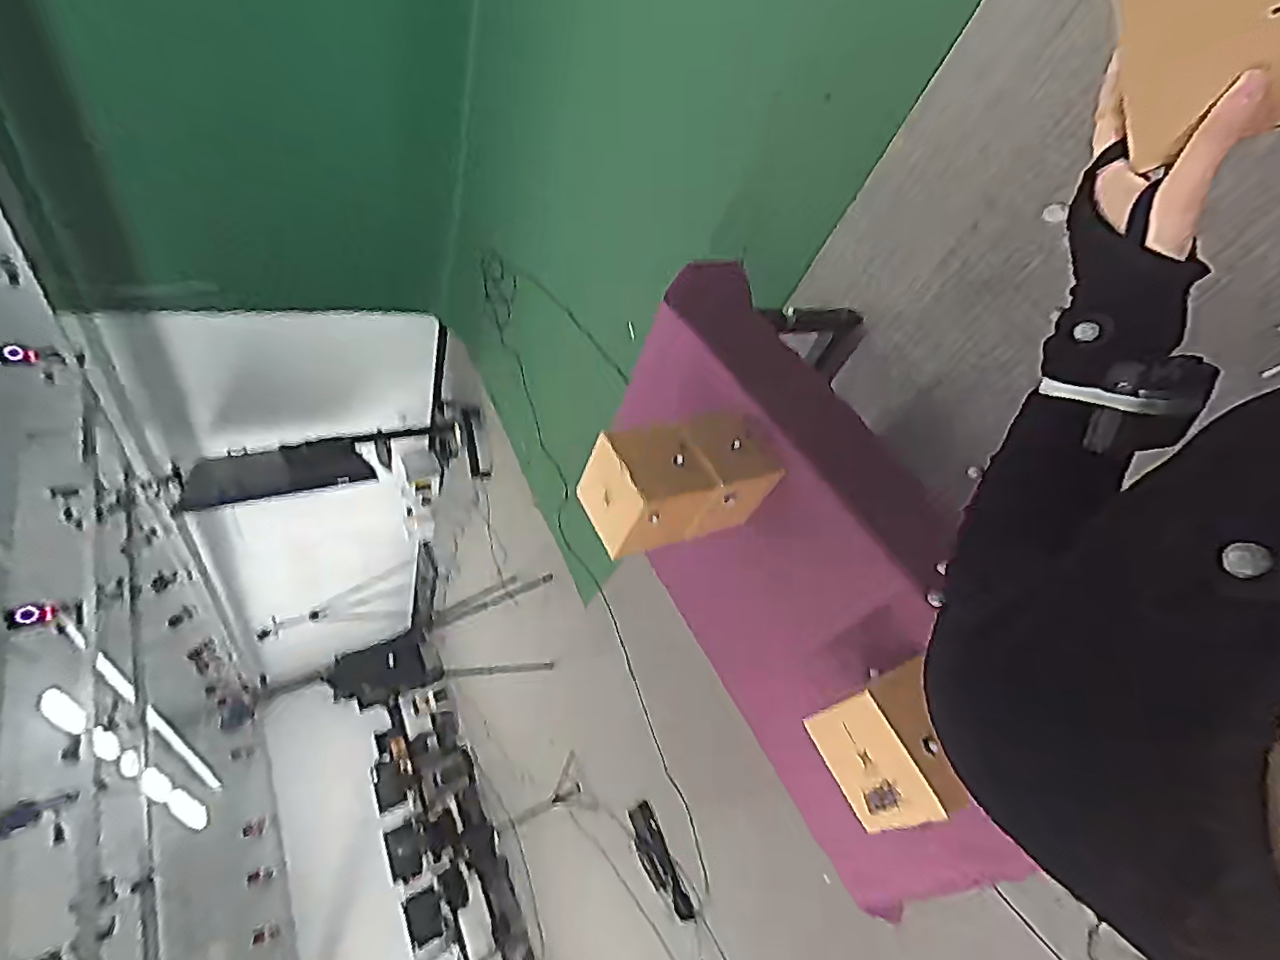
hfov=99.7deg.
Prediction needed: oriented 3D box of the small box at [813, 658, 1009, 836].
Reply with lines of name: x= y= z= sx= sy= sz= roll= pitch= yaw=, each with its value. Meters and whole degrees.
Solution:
small box: x=0.415 y=0.406 z=0.835 sx=0.179 sy=0.176 sz=0.168 roll=60 pitch=143 yaw=26

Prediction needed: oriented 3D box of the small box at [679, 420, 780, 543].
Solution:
small box: x=0.154 y=-0.003 z=1.088 sx=0.168 sy=0.176 sz=0.179 roll=58 pitch=142 yaw=28

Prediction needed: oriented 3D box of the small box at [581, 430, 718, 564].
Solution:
small box: x=0.016 y=0.027 z=1.006 sx=0.168 sy=0.176 sz=0.179 roll=57 pitch=140 yaw=28
